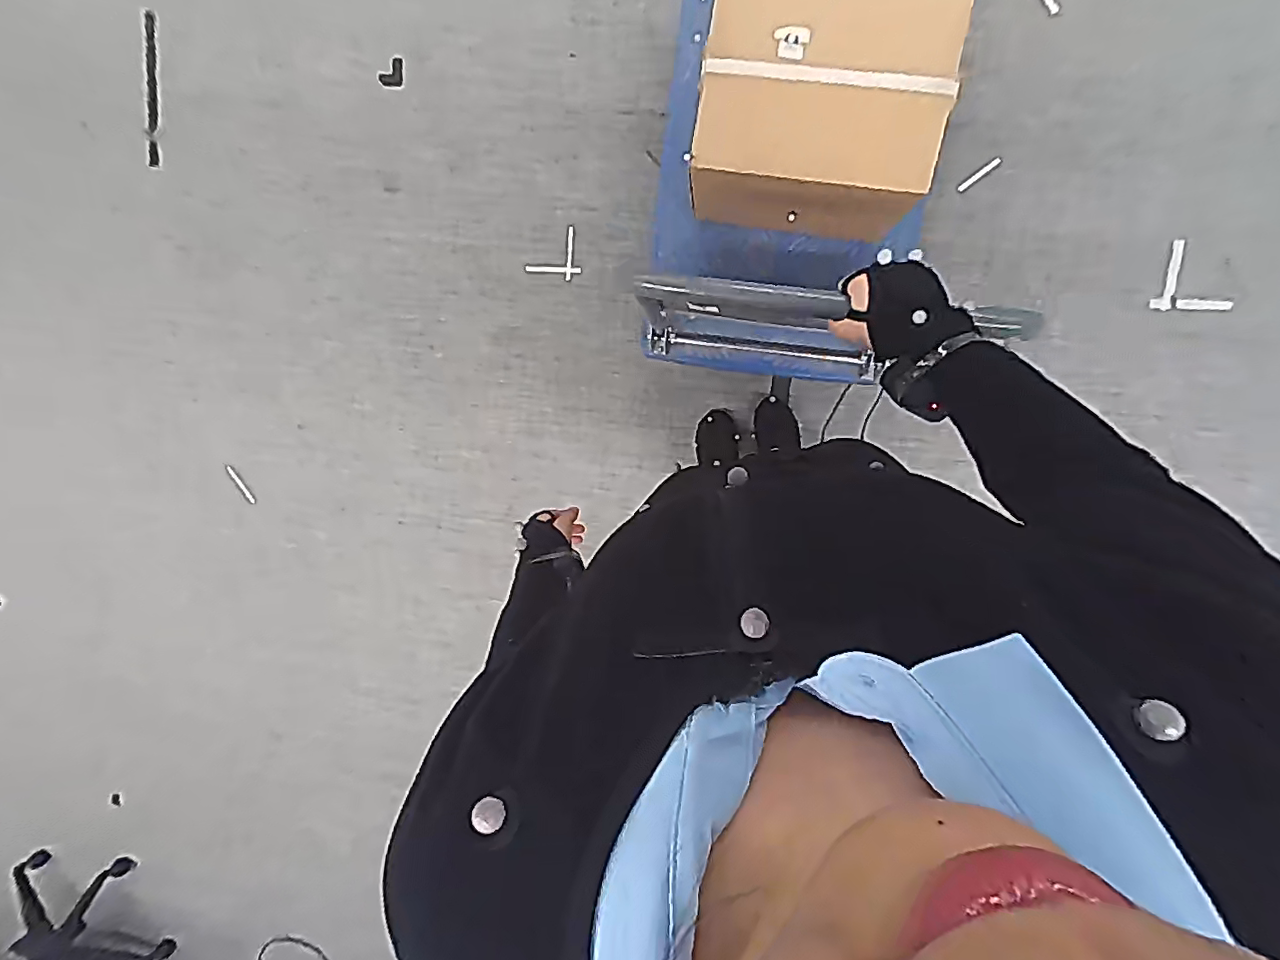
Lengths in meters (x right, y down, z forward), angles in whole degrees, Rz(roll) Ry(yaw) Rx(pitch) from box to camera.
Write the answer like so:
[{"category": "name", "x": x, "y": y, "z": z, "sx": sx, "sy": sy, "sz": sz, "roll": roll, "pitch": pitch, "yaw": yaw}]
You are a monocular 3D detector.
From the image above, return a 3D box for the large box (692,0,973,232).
[{"category": "large box", "x": 0.328, "y": -0.688, "z": 1.023, "sx": 0.408, "sy": 0.320, "sz": 0.320, "roll": 11, "pitch": 100, "yaw": 7}]
